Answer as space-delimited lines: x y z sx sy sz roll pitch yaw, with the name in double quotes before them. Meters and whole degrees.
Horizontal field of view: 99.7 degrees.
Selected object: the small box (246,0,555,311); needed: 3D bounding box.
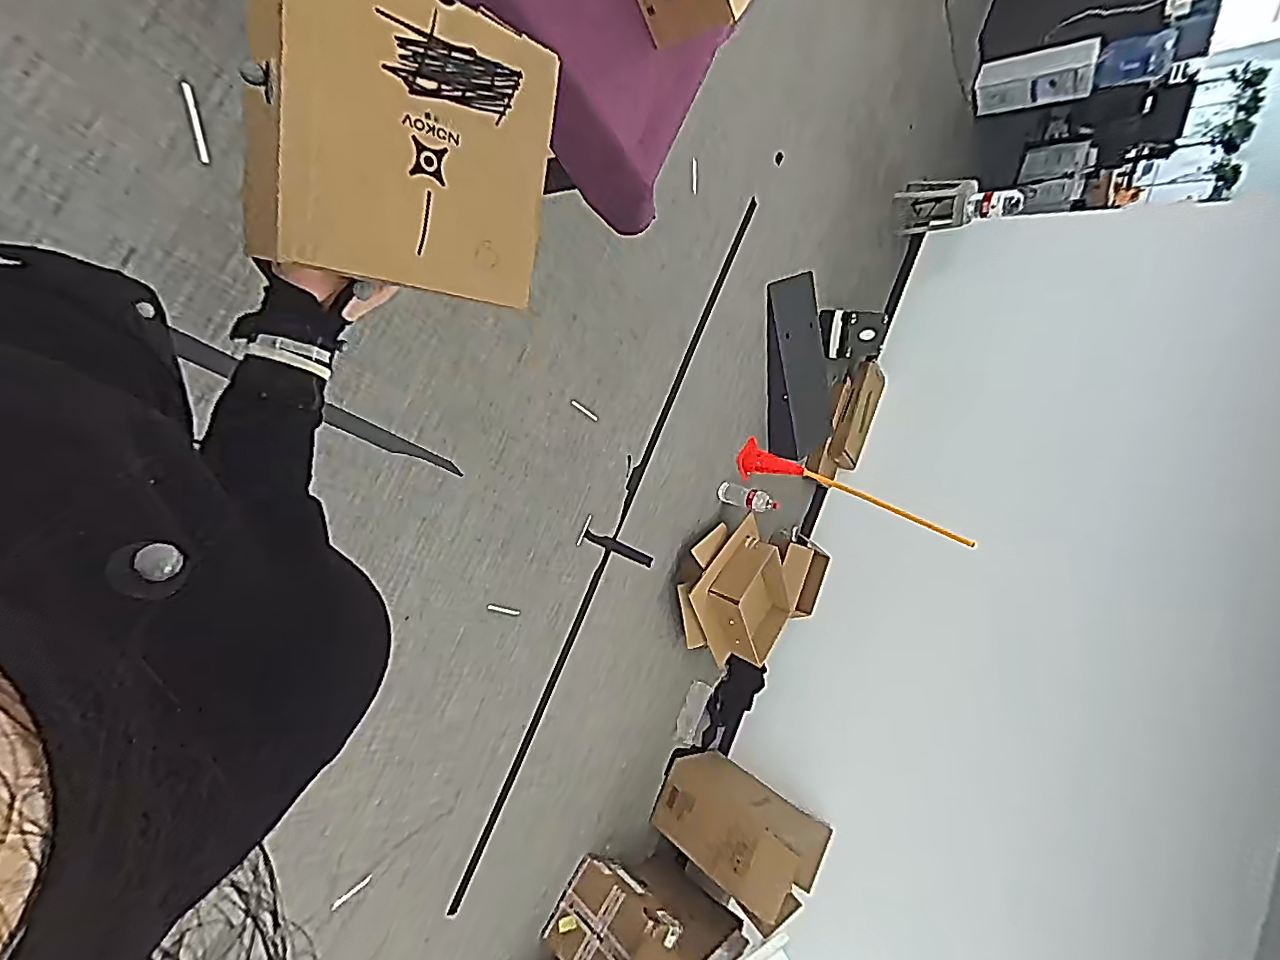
"small box" -0.188 -0.239 0.410 0.168 0.176 0.179 -2 110 -42
